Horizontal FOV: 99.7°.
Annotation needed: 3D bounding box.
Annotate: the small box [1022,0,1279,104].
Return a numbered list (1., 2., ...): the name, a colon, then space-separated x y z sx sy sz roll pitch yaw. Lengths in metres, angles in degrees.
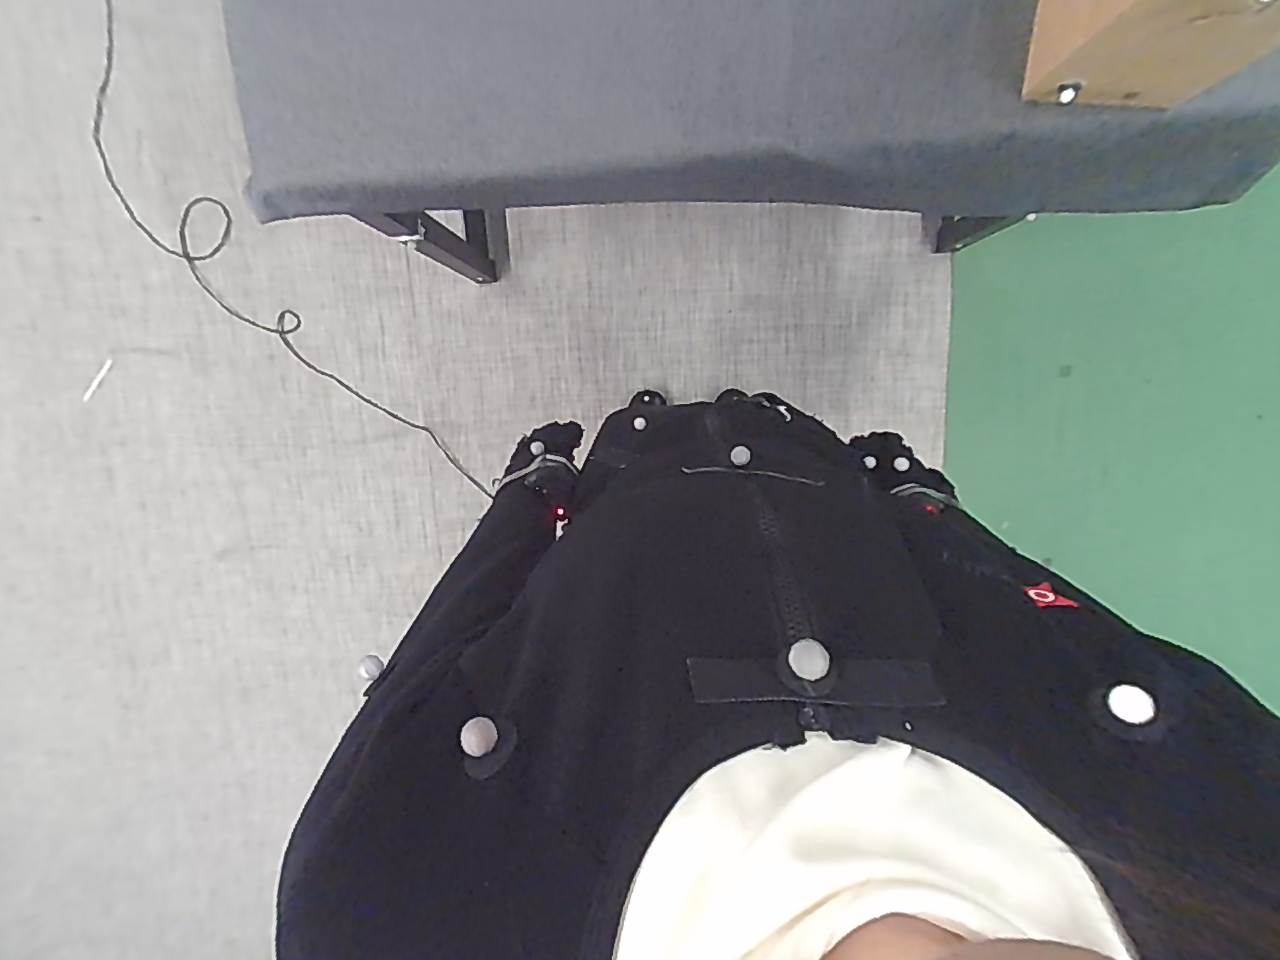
1. small box: 0.505 -0.493 0.511 0.168 0.176 0.179 5 99 2
